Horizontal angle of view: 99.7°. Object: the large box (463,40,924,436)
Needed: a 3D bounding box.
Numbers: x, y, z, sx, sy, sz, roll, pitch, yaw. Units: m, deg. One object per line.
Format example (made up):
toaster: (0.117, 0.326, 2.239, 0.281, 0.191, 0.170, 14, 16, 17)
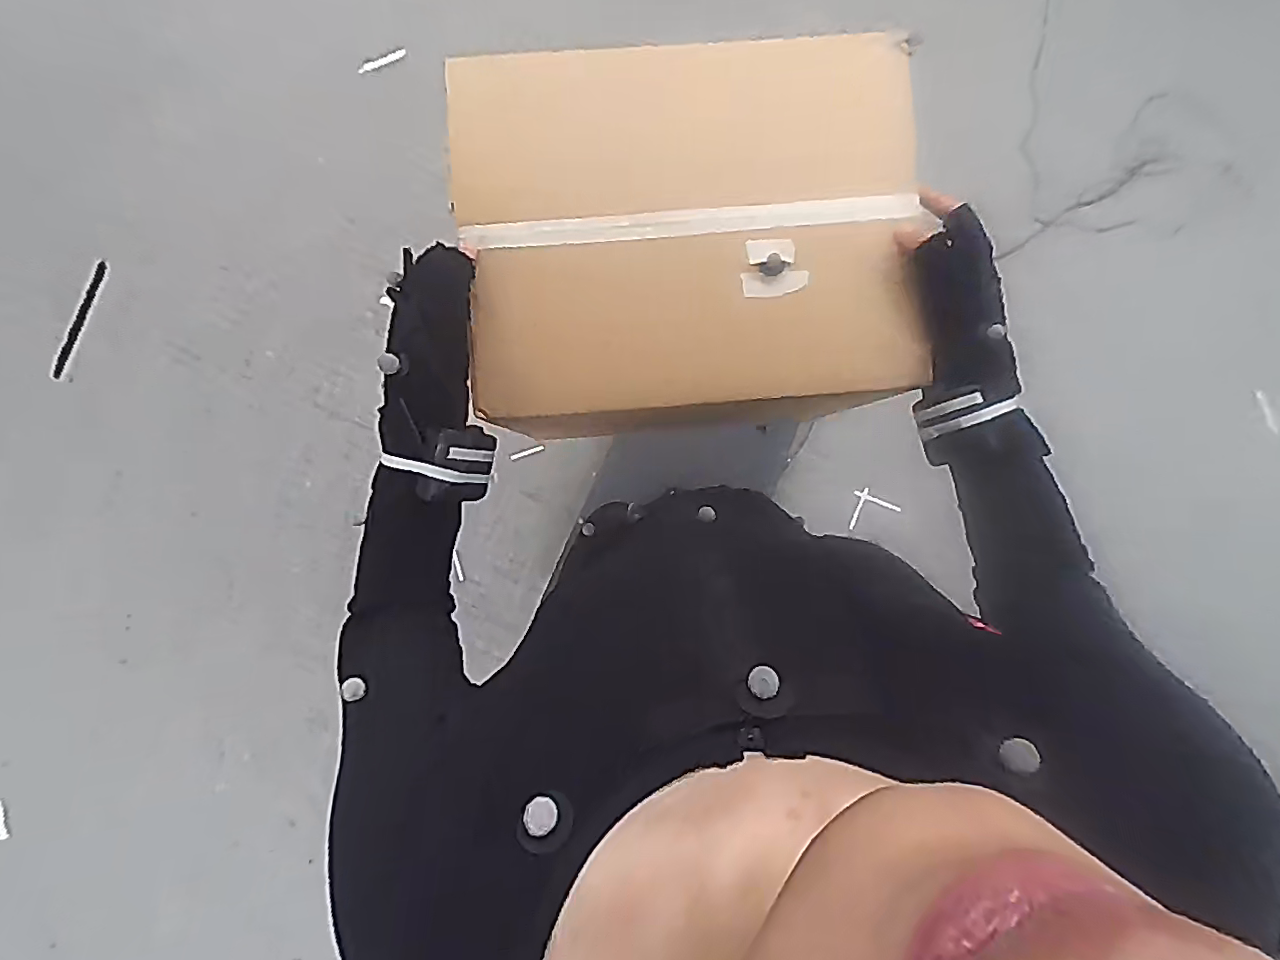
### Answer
large box: (0.045, -0.233, 0.636, 0.408, 0.320, 0.320, -4, 91, -2)
